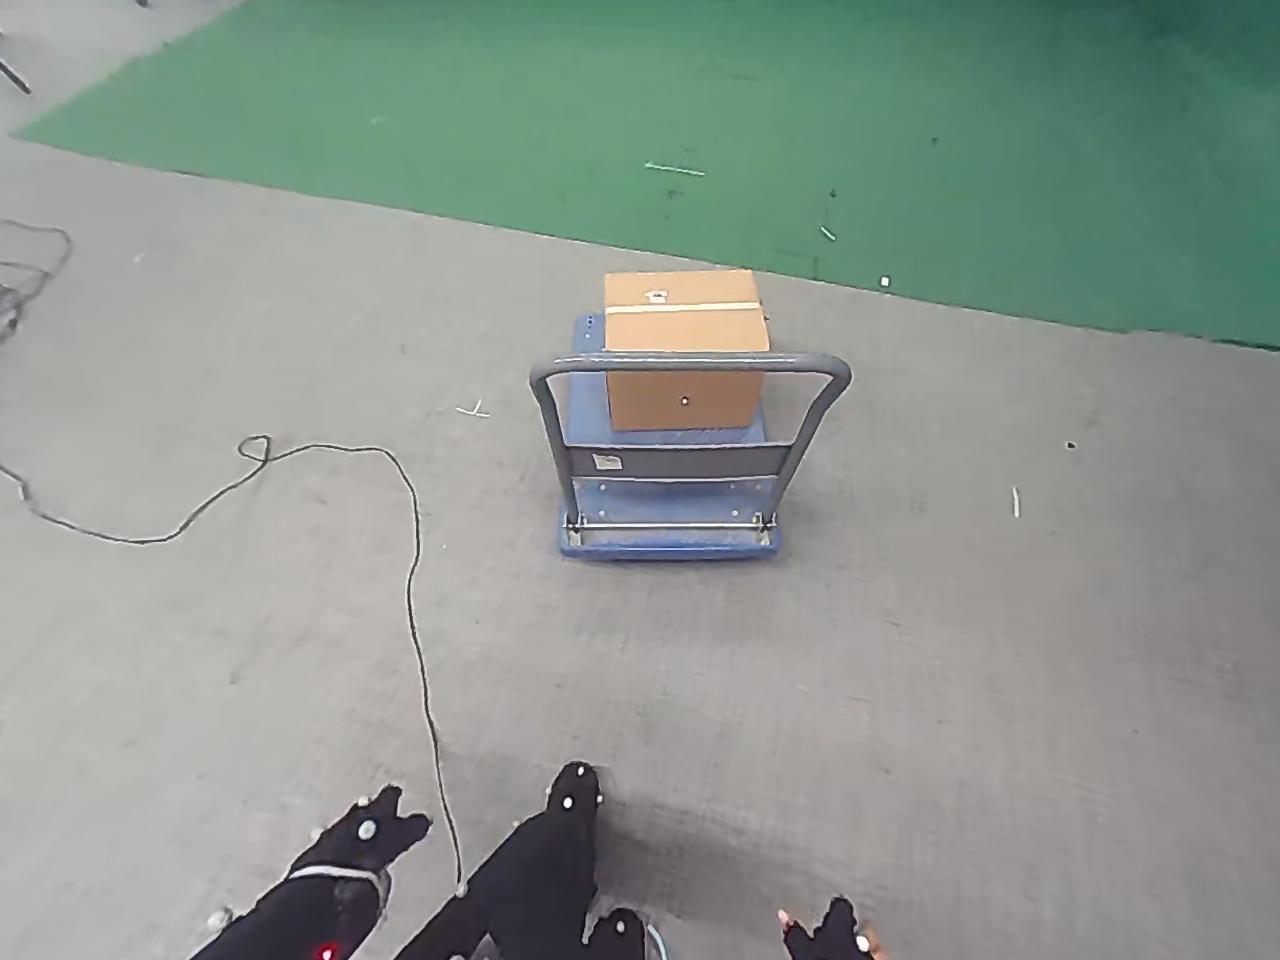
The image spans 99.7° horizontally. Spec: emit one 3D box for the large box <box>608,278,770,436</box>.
[{"bbox_3d":[0.120,-0.341,1.536,0.408,0.320,0.320,-2,57,-1],"label":"large box"}]
